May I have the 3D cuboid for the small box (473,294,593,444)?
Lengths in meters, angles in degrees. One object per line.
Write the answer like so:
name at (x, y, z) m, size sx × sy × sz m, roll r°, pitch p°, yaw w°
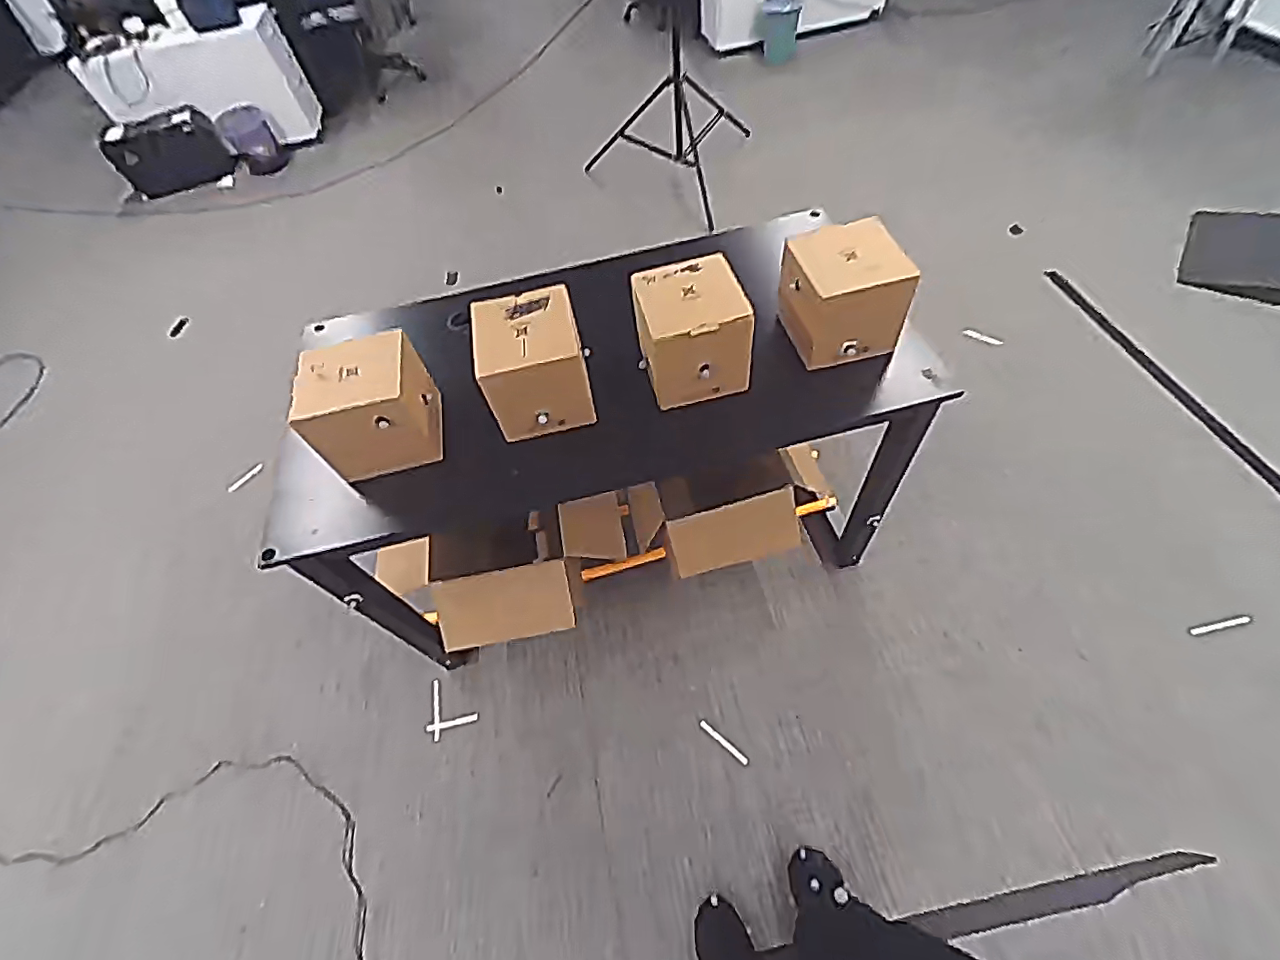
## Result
small box at (-0.185, -0.192, 0.953) m, size 0.168 × 0.176 × 0.179 m, roll -13°, pitch 56°, yaw -1°

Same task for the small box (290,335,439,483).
small box at (-0.460, -0.118, 0.937) m, size 0.179 × 0.176 × 0.168 m, roll -14°, pitch 55°, yaw -3°

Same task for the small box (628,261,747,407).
small box at (0.085, -0.249, 0.958) m, size 0.168 × 0.176 × 0.179 m, roll -14°, pitch 56°, yaw -2°

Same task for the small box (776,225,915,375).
small box at (0.353, -0.319, 0.970) m, size 0.168 × 0.176 × 0.179 m, roll -14°, pitch 56°, yaw 0°
